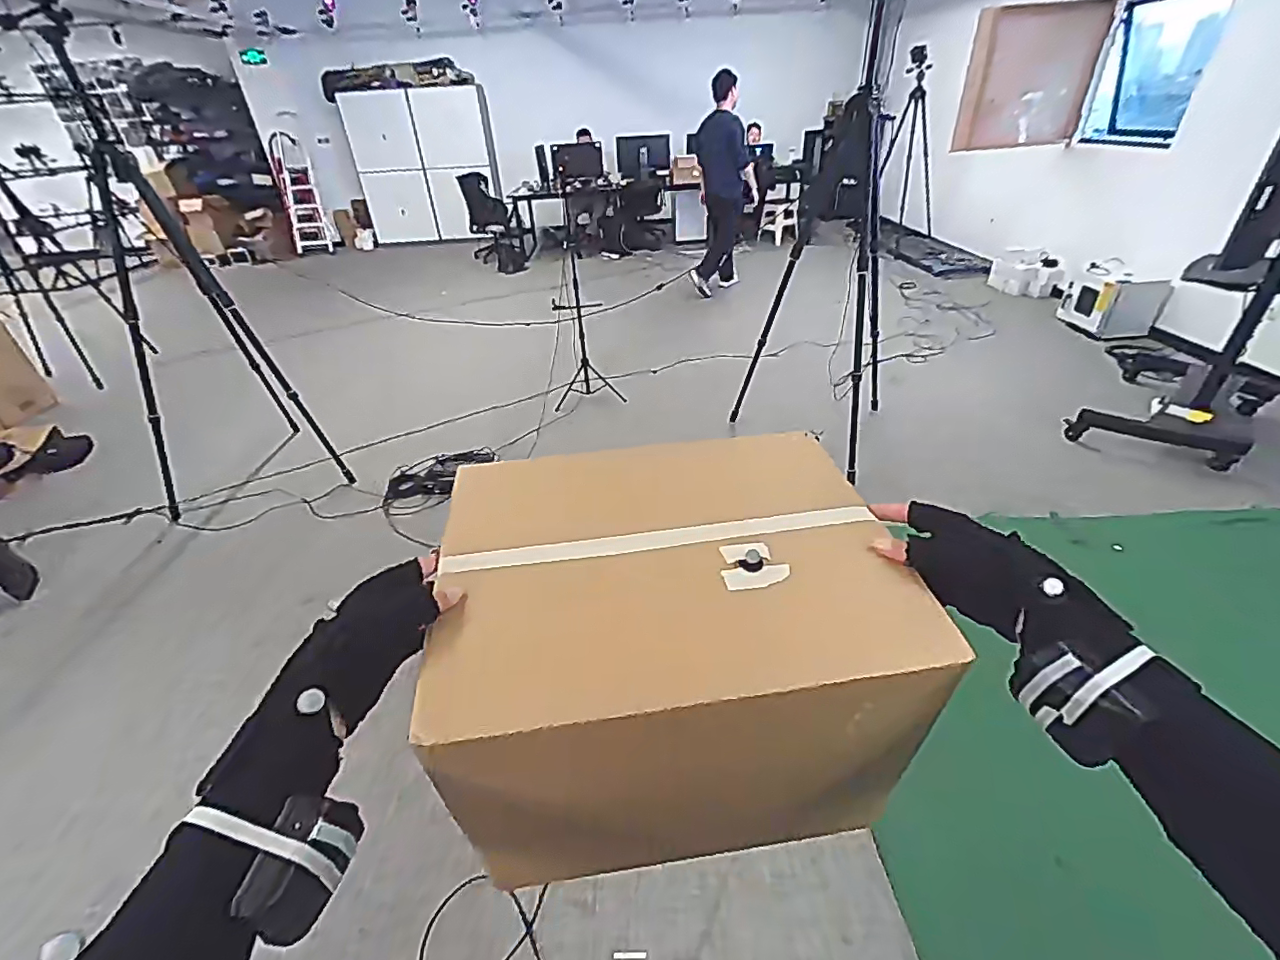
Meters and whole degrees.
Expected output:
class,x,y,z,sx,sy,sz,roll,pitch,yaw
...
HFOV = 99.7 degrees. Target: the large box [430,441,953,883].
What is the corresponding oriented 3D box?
class,x,y,z,sx,sy,sz,roll,pitch,yaw
large box,0.026,0.182,0.598,0.408,0.320,0.320,-5,38,-6
